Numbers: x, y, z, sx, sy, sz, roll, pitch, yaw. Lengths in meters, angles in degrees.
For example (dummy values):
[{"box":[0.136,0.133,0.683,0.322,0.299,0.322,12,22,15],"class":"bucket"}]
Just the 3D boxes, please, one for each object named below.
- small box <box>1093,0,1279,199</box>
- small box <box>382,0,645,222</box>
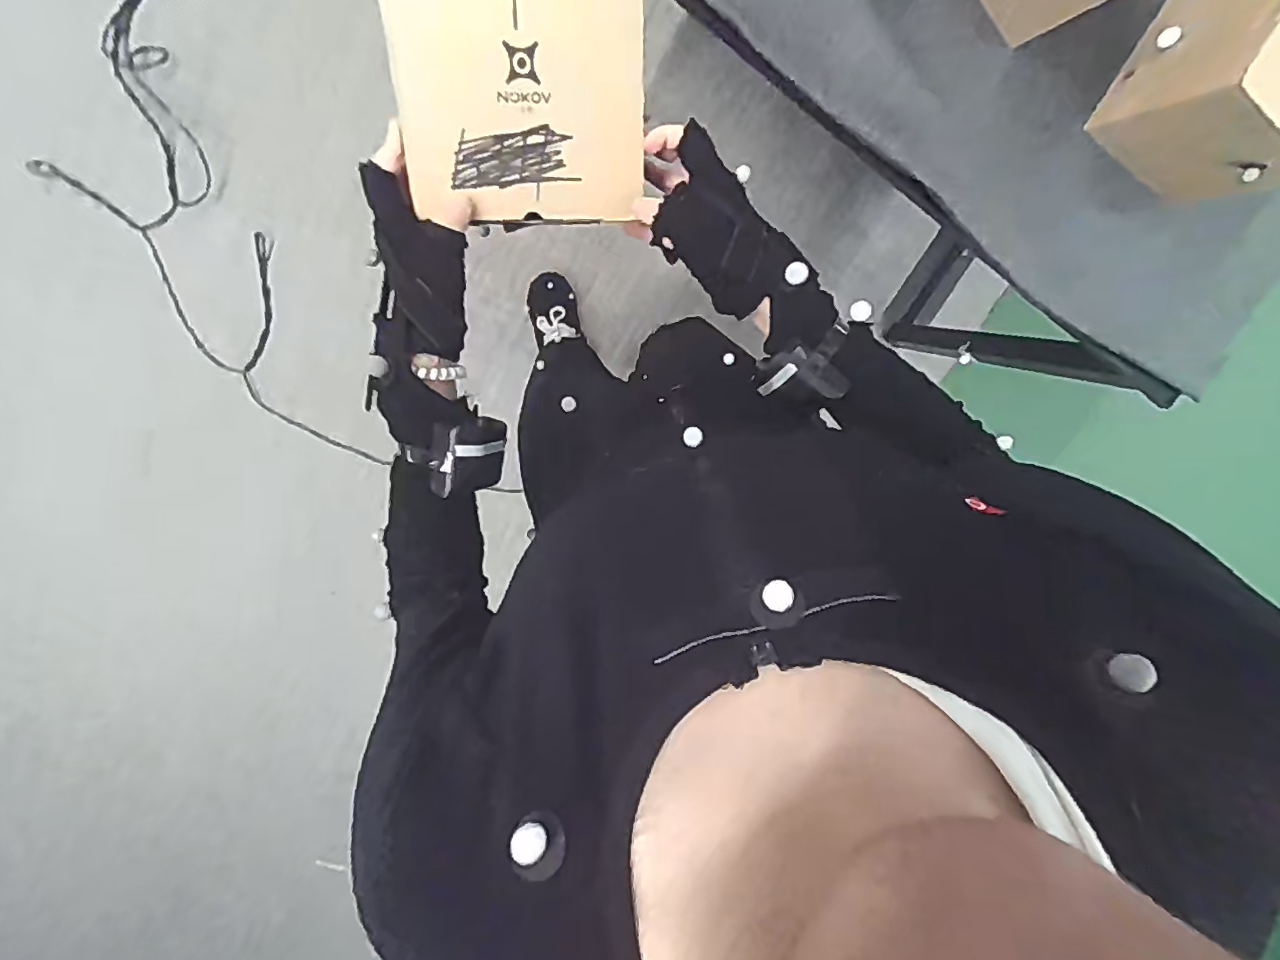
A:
[{"box":[0.686,-0.443,0.610,0.179,0.176,0.168,25,103,-16],"class":"small box"},{"box":[-0.088,-0.303,0.424,0.168,0.176,0.179,-3,116,-8],"class":"small box"}]
